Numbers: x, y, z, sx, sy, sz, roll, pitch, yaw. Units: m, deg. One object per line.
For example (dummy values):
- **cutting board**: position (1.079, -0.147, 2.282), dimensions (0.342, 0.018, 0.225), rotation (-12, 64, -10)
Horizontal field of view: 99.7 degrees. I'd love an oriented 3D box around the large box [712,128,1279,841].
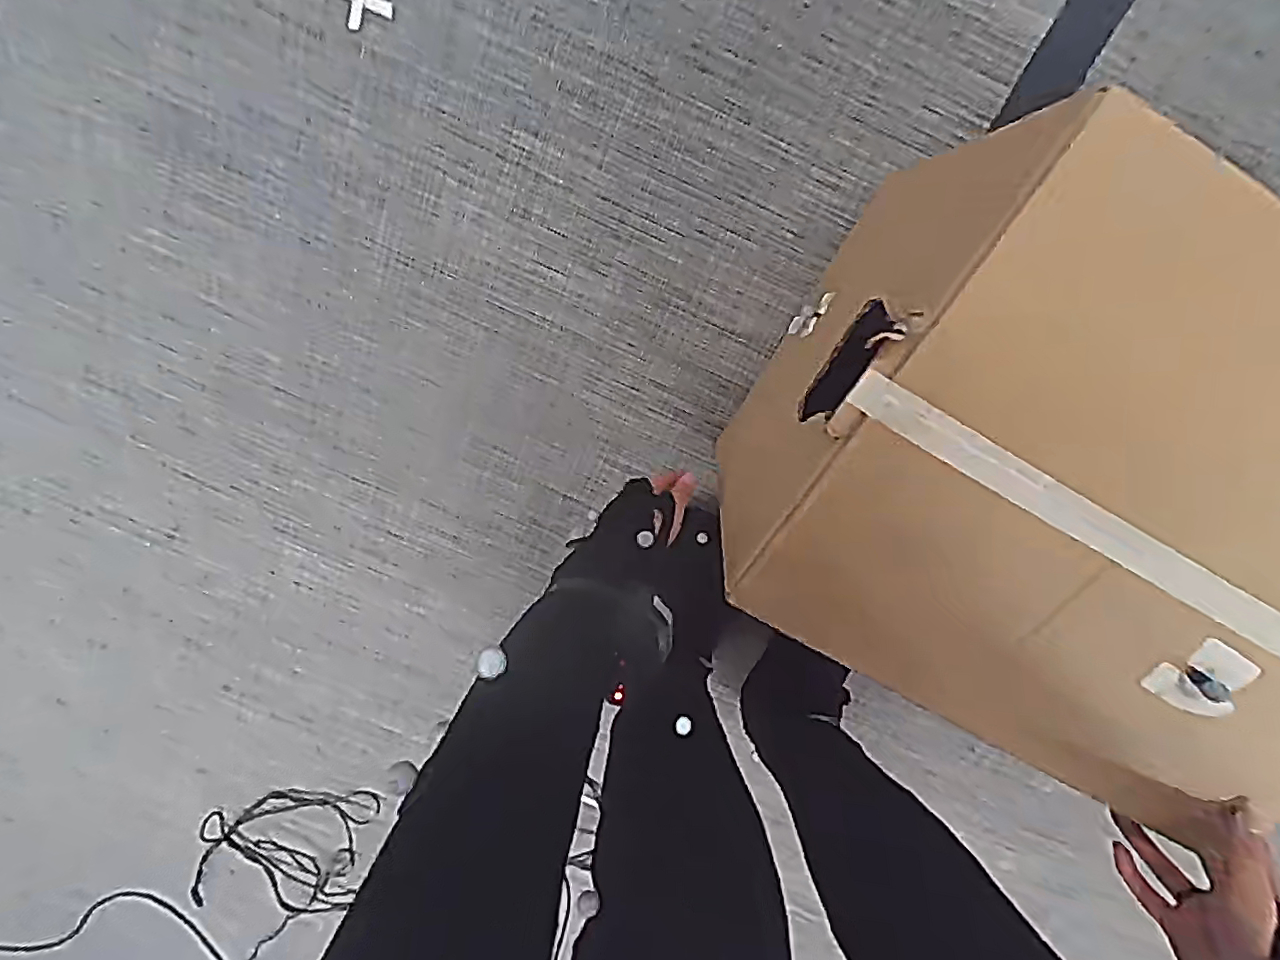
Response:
- **large box**: position (0.312, -0.004, 0.454), dimensions (0.408, 0.320, 0.320), rotation (28, 112, -6)
